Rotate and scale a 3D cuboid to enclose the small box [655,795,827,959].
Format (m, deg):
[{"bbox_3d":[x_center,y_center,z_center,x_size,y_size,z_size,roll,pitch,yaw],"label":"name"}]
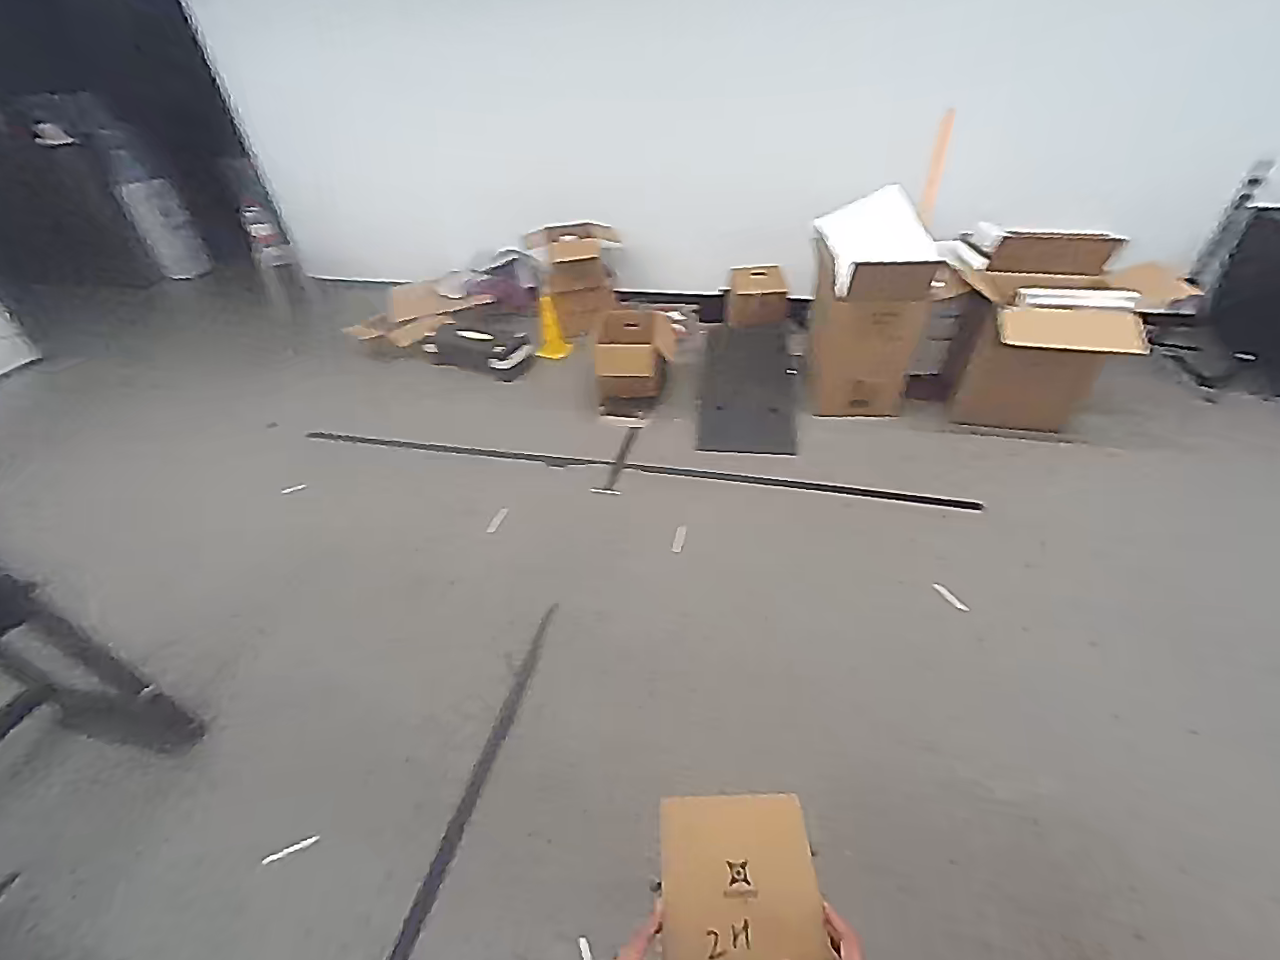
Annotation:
[{"bbox_3d":[0.102,0.490,0.616,0.168,0.176,0.179,-4,38,2],"label":"small box"}]
